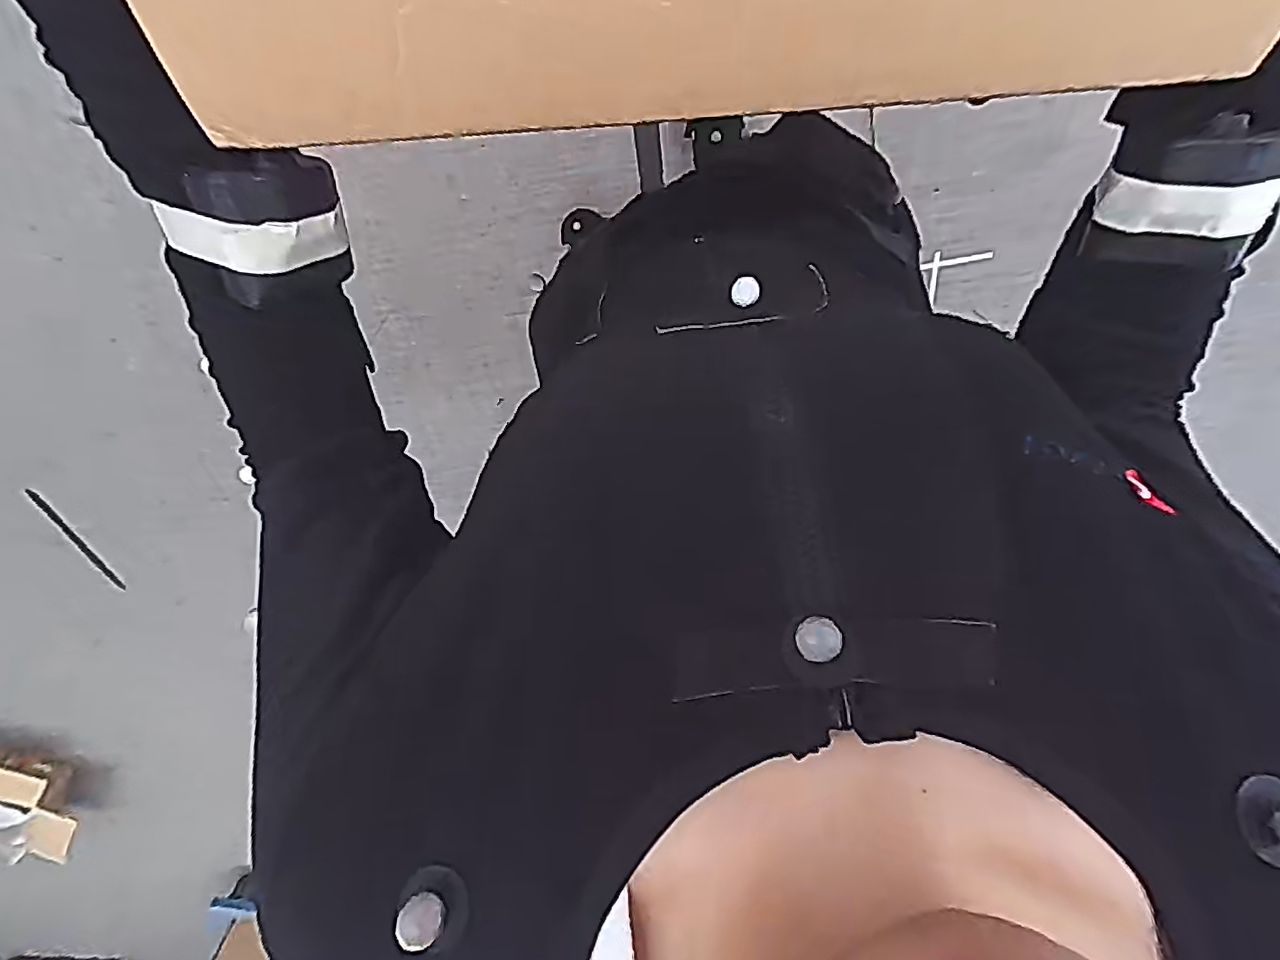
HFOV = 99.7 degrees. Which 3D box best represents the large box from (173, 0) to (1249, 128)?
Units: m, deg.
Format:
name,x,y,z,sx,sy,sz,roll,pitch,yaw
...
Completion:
name,x,y,z,sx,sy,sz,roll,pitch,yaw
large box,0.020,-0.370,0.201,0.408,0.320,0.320,-3,138,1
